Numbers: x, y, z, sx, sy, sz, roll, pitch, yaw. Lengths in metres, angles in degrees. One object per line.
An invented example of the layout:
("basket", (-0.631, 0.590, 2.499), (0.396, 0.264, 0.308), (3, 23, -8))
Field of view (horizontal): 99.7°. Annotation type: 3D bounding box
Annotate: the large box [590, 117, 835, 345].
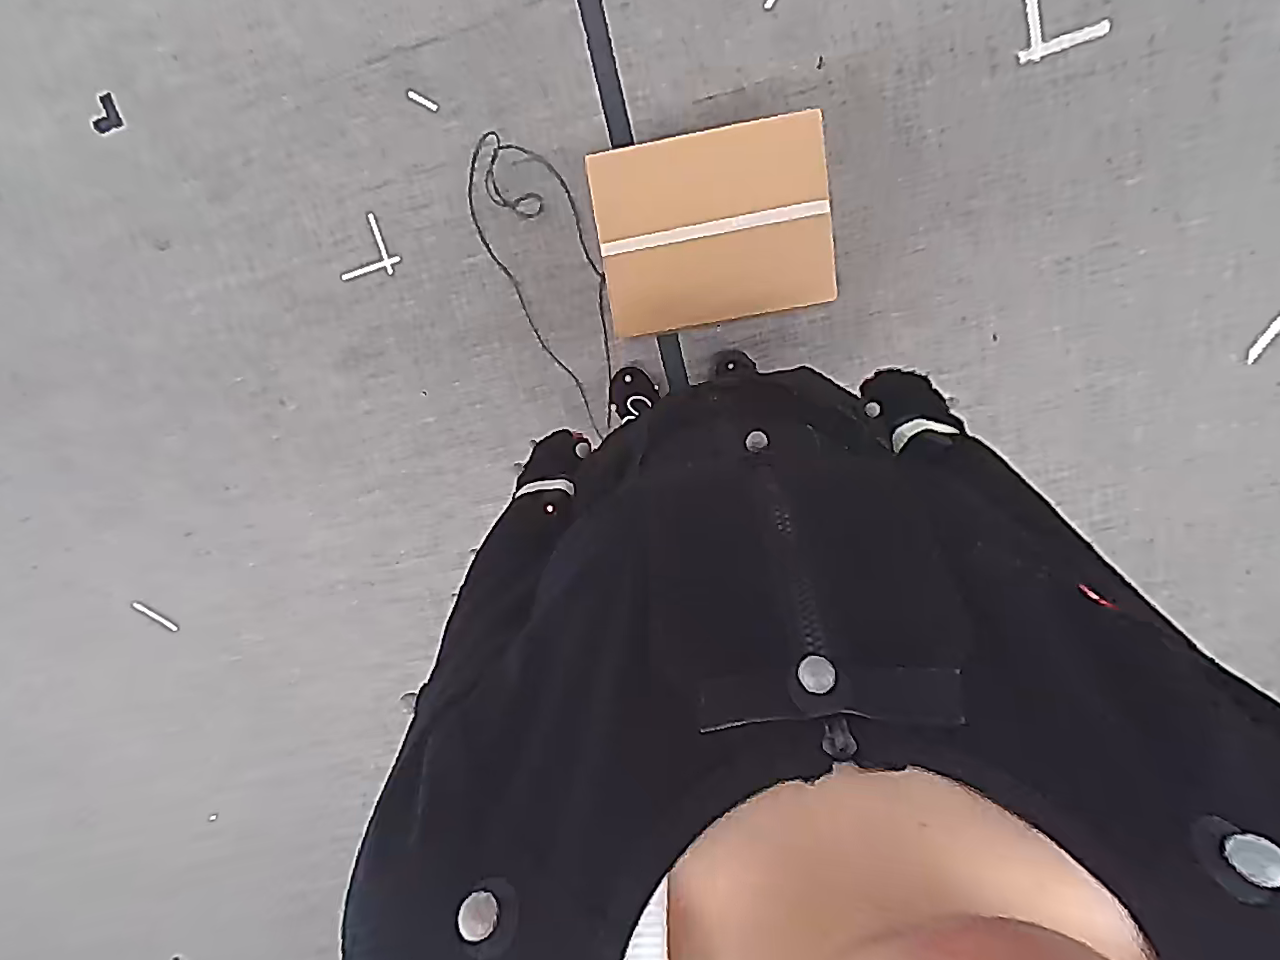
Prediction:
("large box", (0.138, -0.467, 1.102), (0.408, 0.320, 0.320), (-8, 104, 5))
